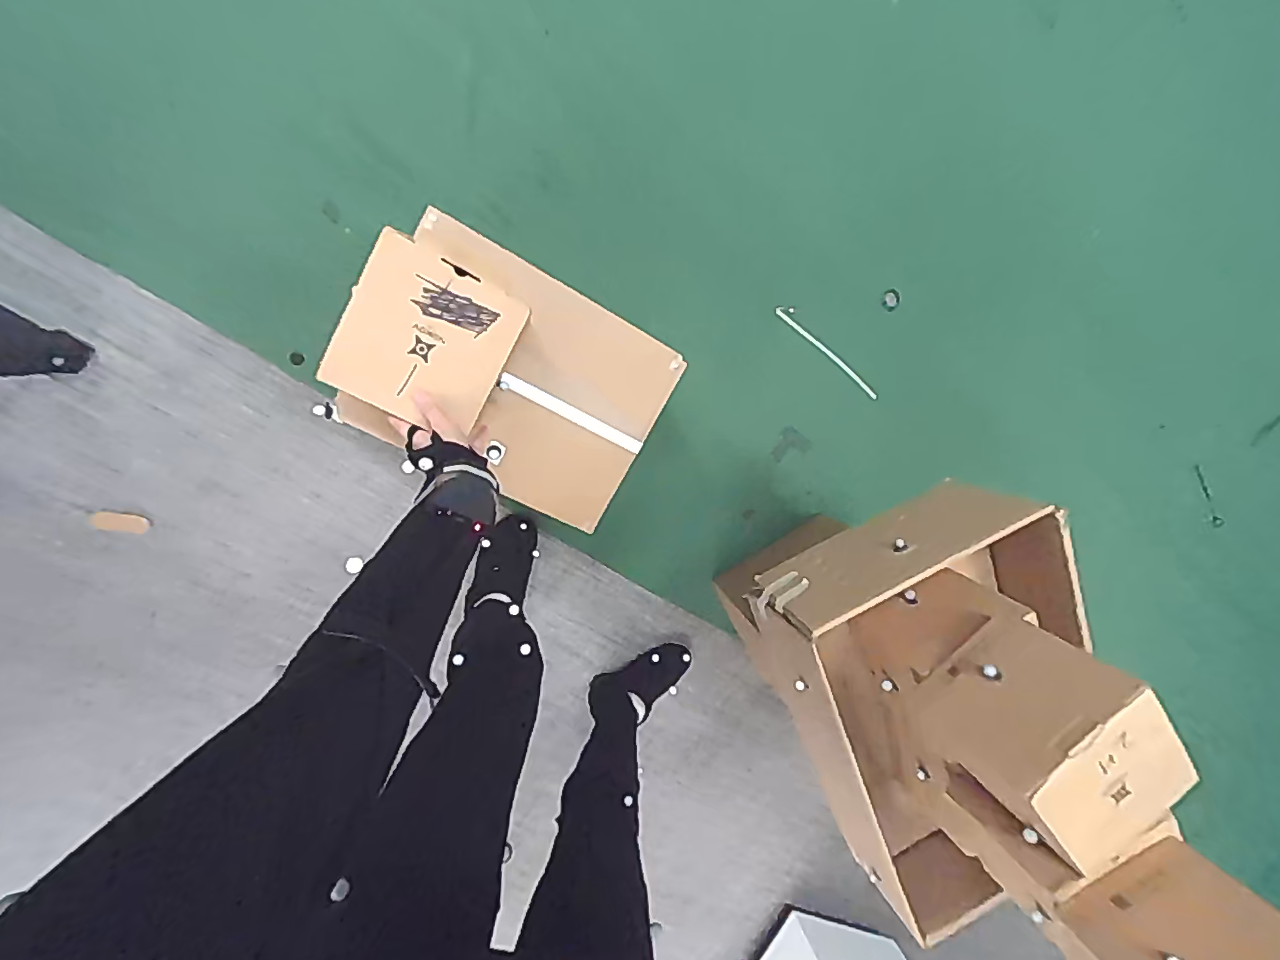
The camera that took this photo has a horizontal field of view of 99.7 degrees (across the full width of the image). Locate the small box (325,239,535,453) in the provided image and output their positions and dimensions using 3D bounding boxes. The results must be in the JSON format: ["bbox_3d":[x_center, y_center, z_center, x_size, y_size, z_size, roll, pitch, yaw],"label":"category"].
[{"bbox_3d":[-0.243,-0.158,0.663,0.168,0.176,0.179,27,96,-16],"label":"small box"}]

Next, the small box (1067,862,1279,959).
[{"bbox_3d":[0.562,0.518,0.521,0.168,0.176,0.179,-25,103,-5],"label":"small box"}]
